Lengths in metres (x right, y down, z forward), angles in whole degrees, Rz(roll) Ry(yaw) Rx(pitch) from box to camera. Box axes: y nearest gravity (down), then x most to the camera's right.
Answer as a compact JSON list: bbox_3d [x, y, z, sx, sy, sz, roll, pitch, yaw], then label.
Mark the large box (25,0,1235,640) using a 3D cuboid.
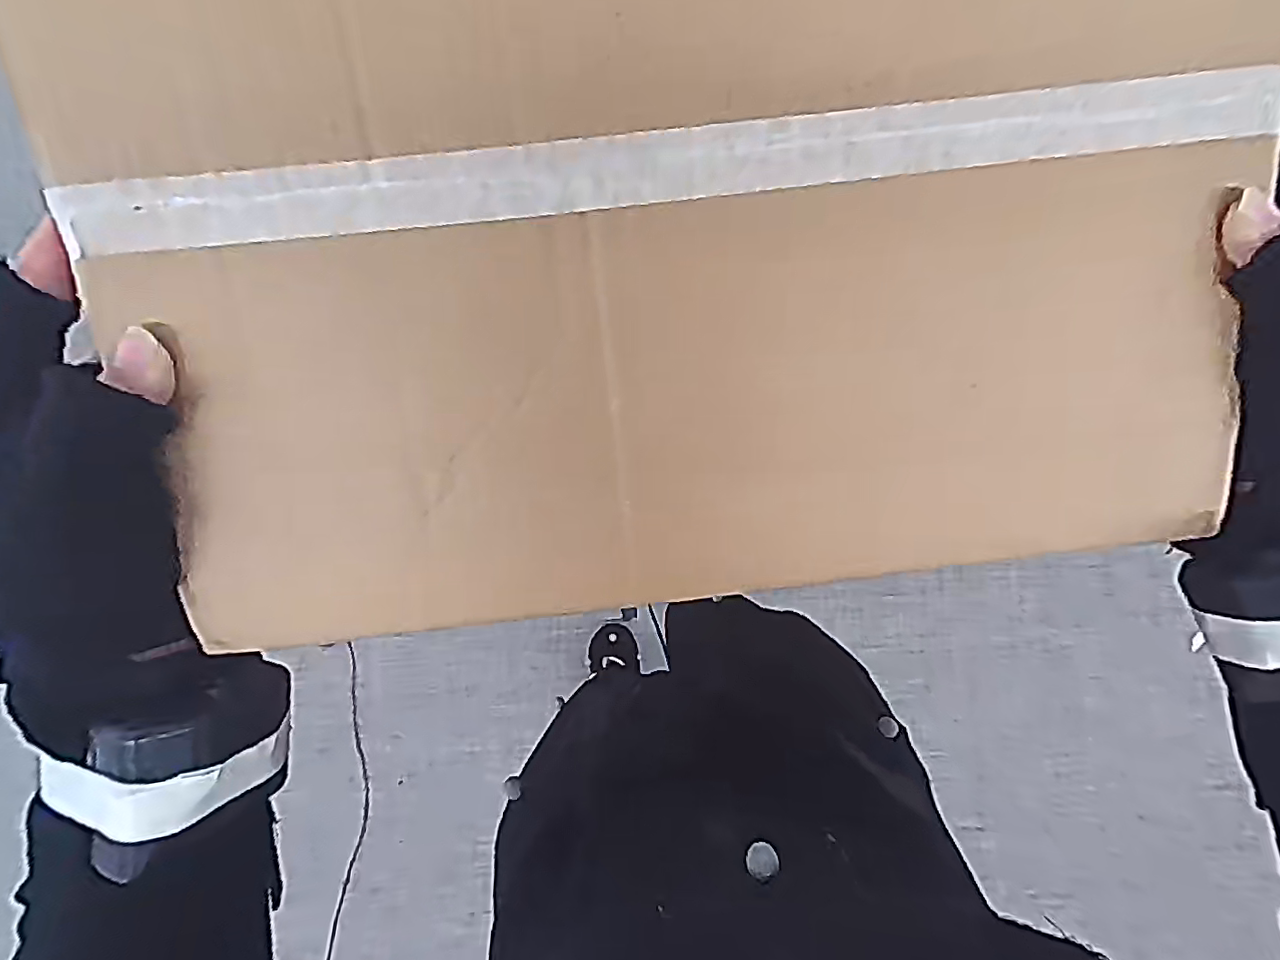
[{"bbox_3d":[0.005,-0.140,0.338,0.408,0.320,0.320,-6,103,-2],"label":"large box"}]
